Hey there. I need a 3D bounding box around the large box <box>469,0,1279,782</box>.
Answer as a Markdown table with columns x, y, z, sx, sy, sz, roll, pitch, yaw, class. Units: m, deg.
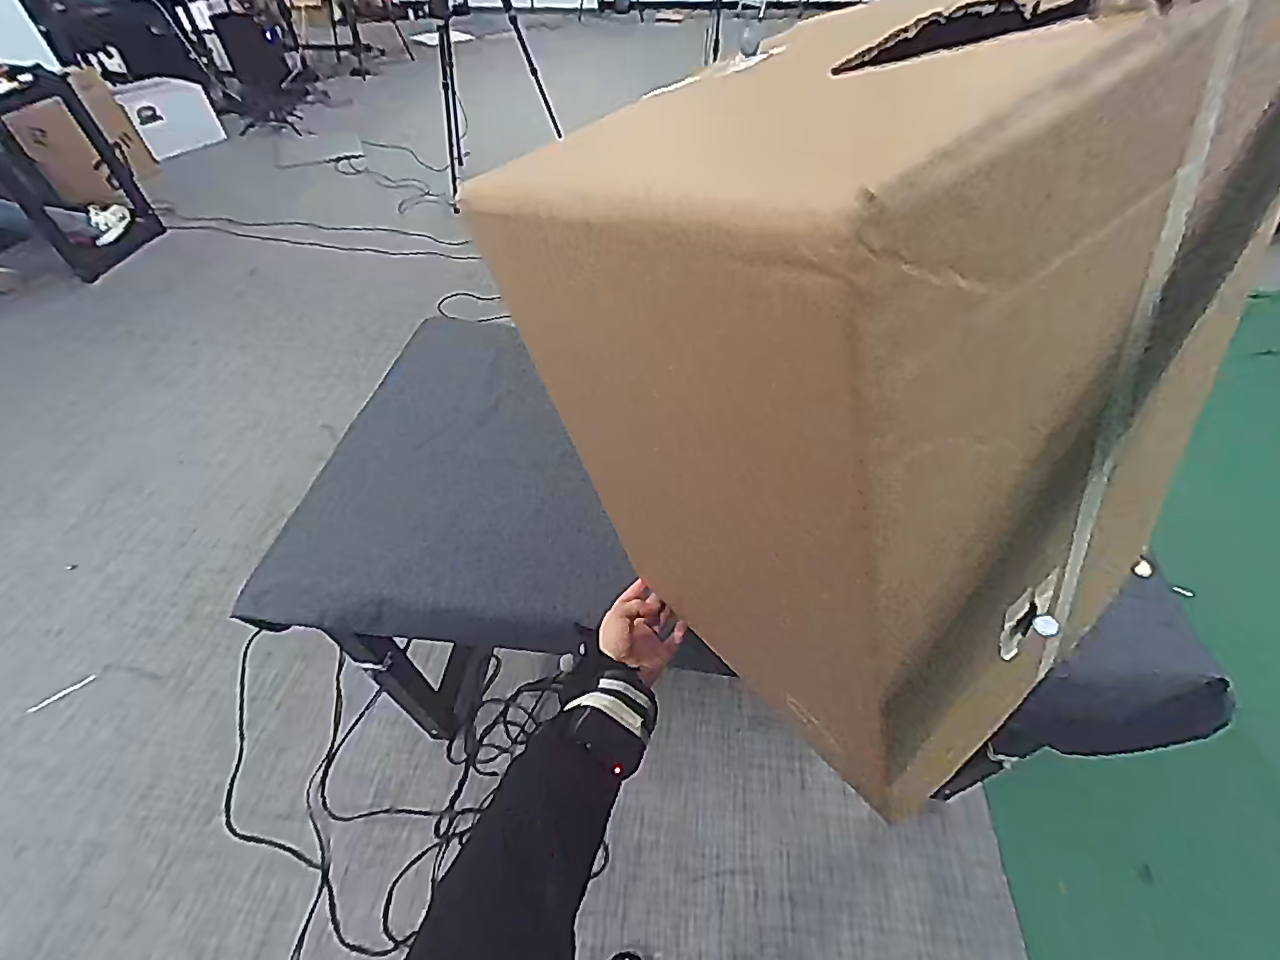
| x | y | z | sx | sy | sz | roll | pitch | yaw | class |
| --- | --- | --- | --- | --- | --- | --- | --- | --- | --- |
| 0.144 | -0.068 | 0.408 | 0.320 | 0.408 | 0.320 | -37 | 42 | -15 | large box |
